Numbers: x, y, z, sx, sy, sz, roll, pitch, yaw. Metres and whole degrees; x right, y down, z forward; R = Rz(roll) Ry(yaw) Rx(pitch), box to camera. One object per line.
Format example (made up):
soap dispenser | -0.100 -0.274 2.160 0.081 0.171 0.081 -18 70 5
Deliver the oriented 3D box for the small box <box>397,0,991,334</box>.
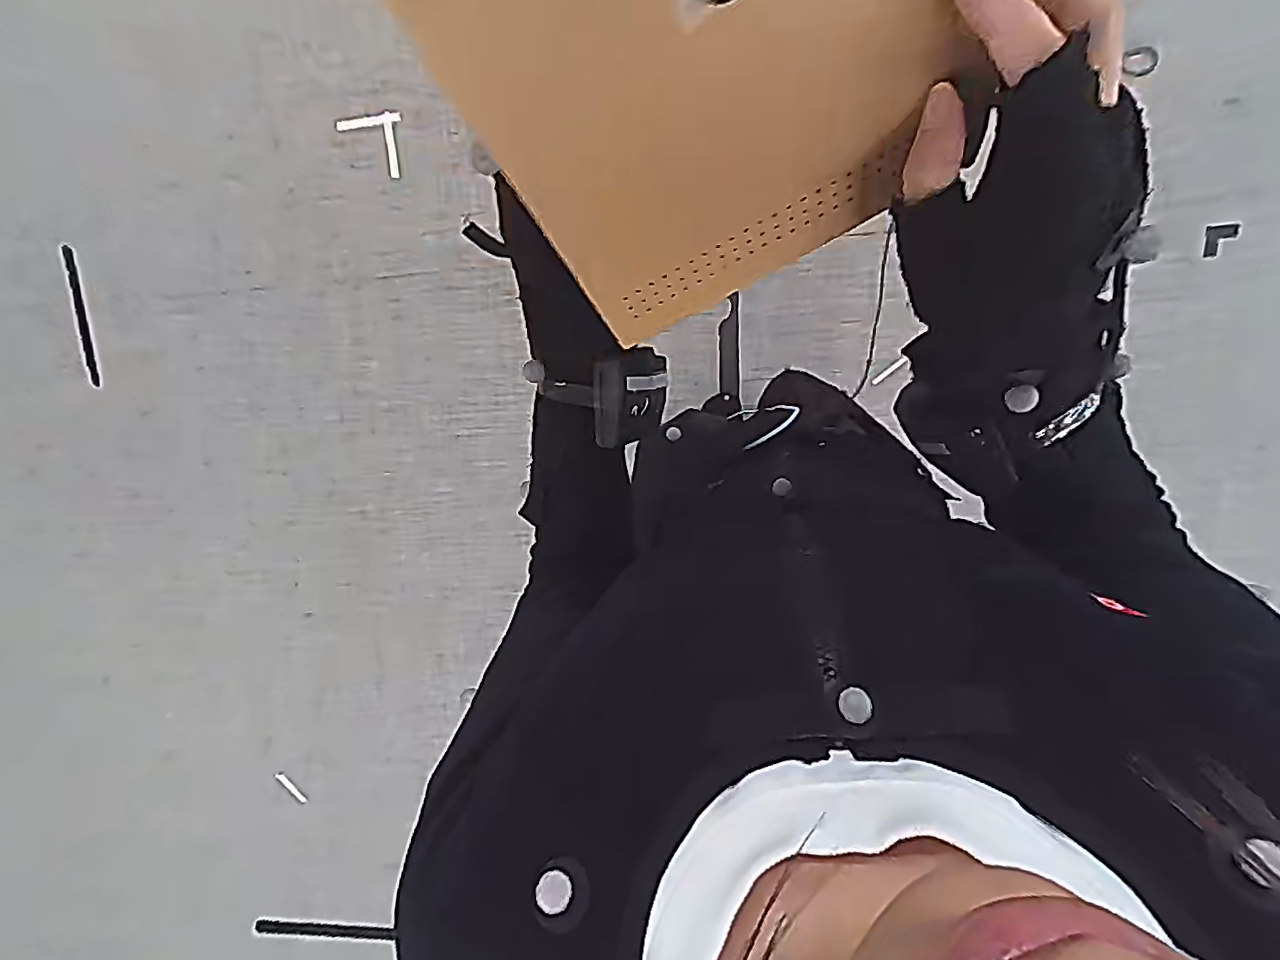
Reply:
small box | 0.020 -0.194 0.221 0.179 0.176 0.168 -26 63 10
